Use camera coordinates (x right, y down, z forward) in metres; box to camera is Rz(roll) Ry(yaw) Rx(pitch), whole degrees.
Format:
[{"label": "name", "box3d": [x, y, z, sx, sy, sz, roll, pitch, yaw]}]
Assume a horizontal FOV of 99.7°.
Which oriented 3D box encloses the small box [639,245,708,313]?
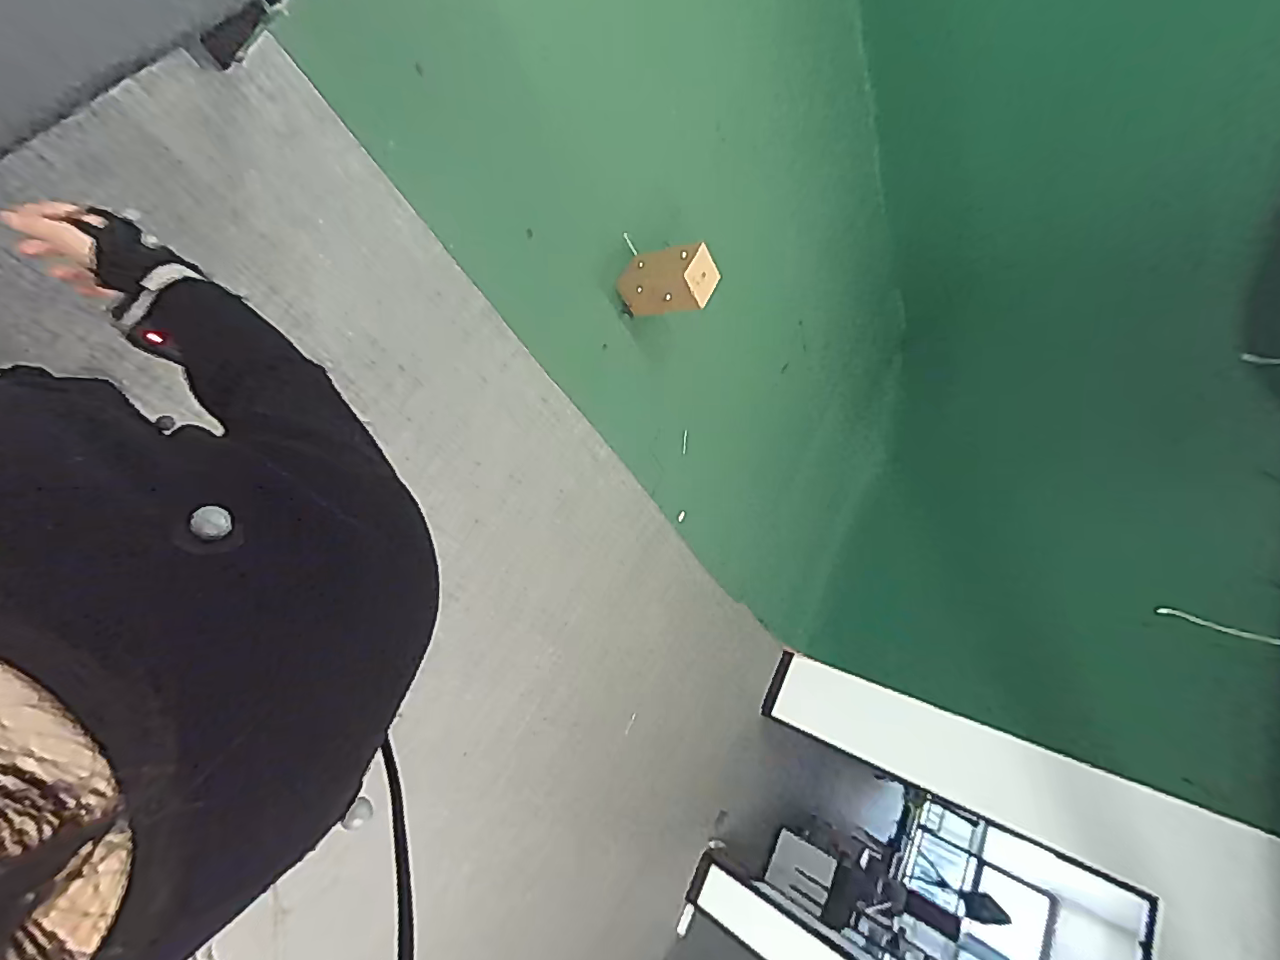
[{"label": "small box", "box3d": [0.125, -0.751, 2.033, 0.168, 0.176, 0.179, 49, 61, -44]}]
